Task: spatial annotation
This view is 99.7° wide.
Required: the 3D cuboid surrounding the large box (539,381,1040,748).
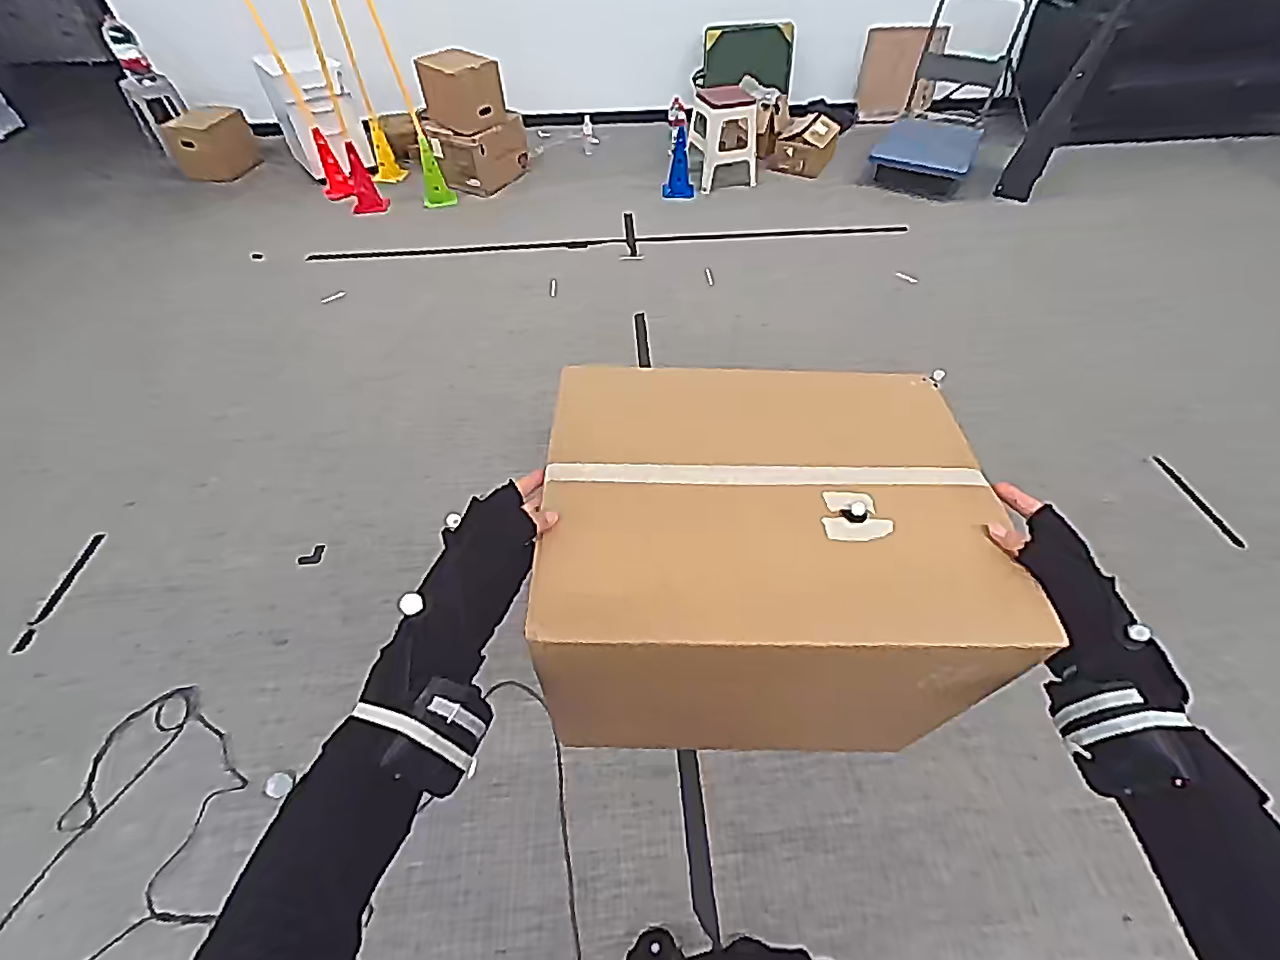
[{"bbox_3d":[0.111,0.103,0.625,0.408,0.320,0.320,1,51,-1],"label":"large box"}]
